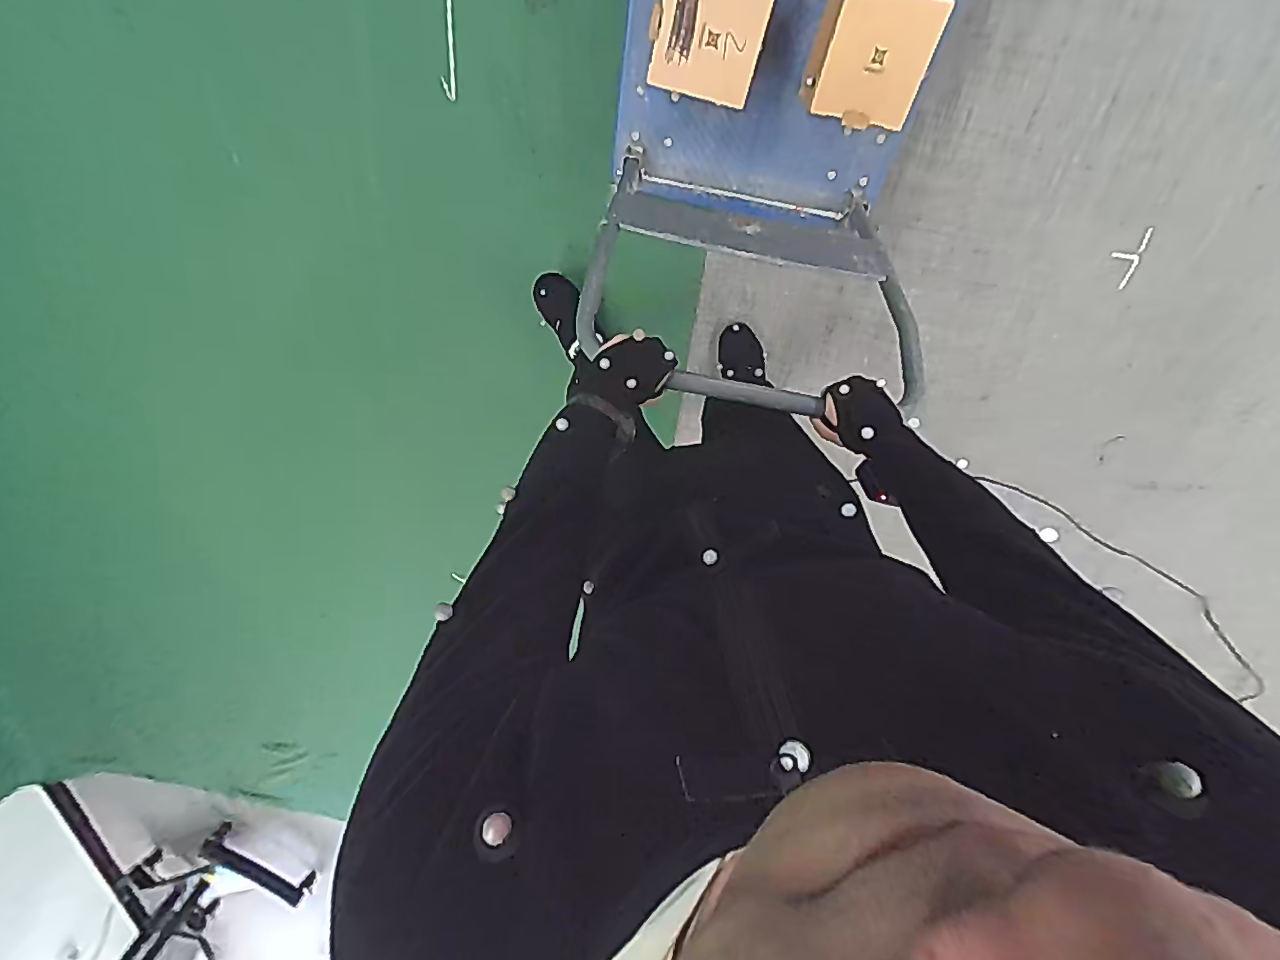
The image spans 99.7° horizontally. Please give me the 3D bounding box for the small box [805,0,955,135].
[{"bbox_3d":[0.397,-0.731,0.937,0.168,0.176,0.179,10,134,-2],"label":"small box"}]
